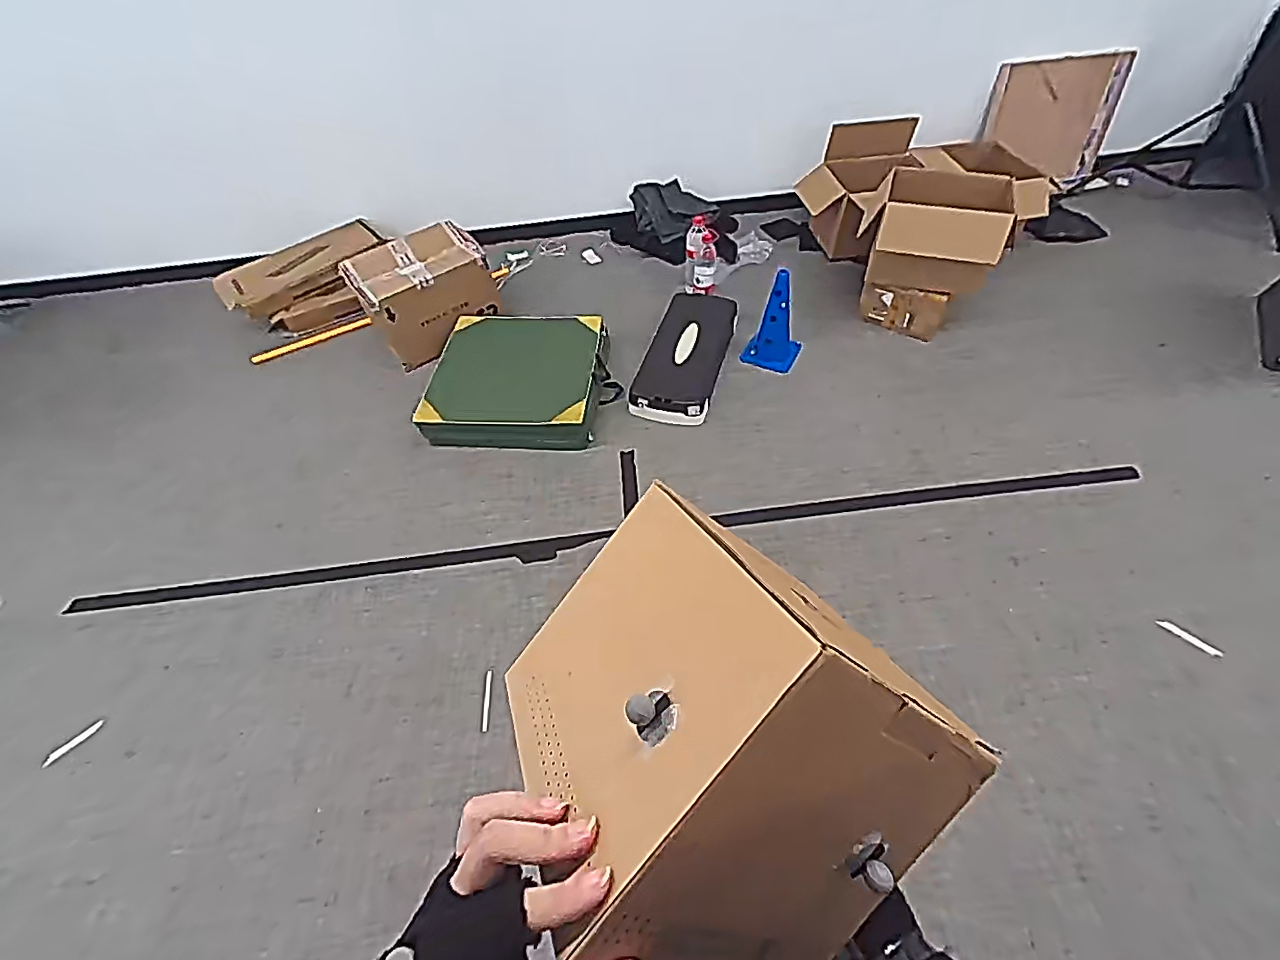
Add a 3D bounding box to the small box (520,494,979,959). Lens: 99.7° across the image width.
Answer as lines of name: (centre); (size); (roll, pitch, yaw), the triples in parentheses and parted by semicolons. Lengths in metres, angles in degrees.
small box: (0.047, 0.142, 0.332); (0.176, 0.168, 0.179); (-53, 28, 4)
